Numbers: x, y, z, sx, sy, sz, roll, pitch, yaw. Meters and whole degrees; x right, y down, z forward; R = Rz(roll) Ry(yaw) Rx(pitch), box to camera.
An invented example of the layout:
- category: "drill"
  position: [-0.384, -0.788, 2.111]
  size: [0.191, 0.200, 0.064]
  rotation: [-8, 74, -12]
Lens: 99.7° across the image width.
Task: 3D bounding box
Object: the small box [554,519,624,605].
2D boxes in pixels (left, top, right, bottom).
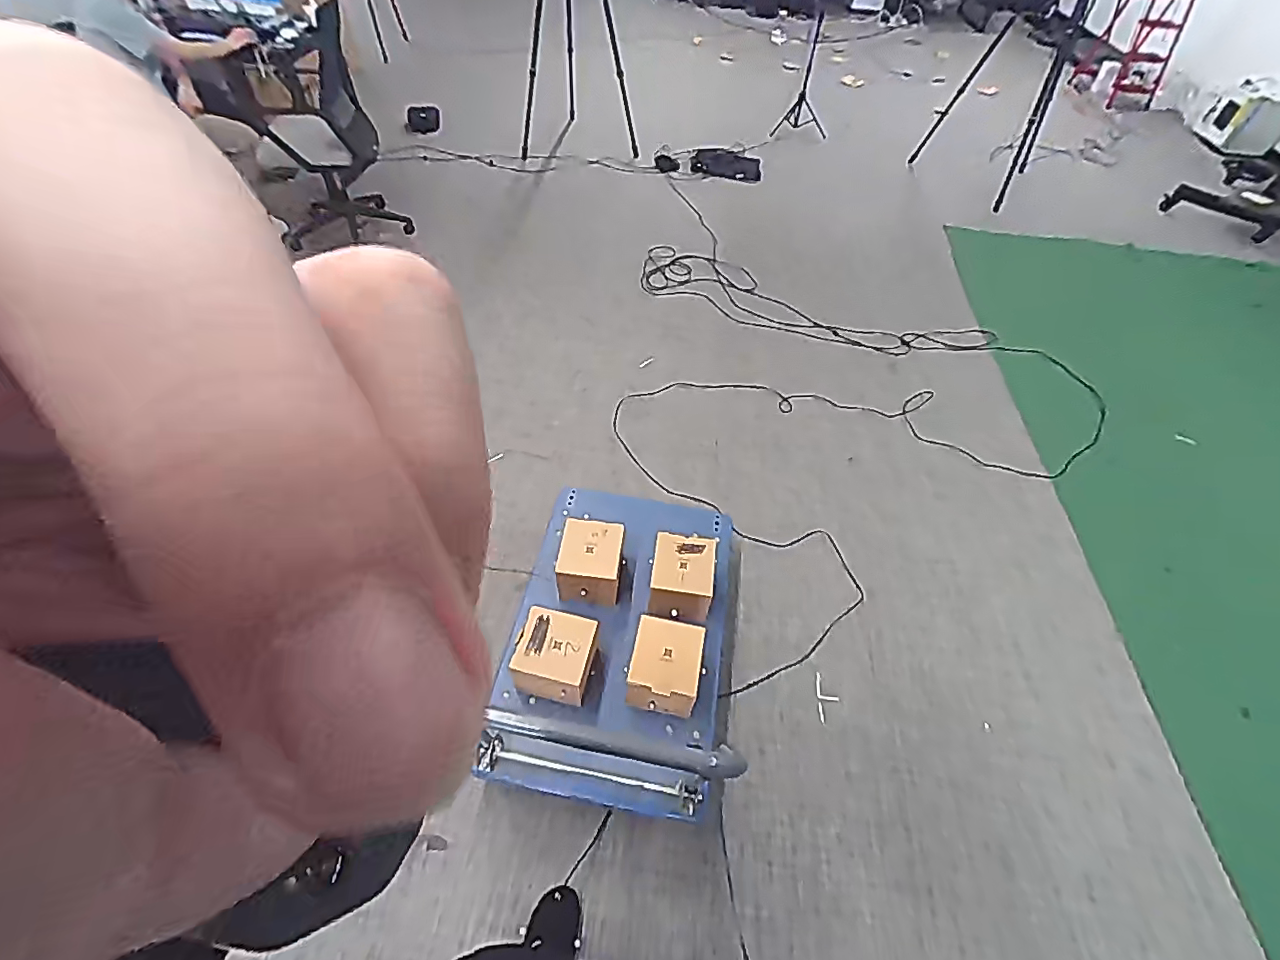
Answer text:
- category: "small box"
  position: [-0.139, 0.235, 1.522]
  size: [0.168, 0.176, 0.179]
  rotation: [7, 52, 1]

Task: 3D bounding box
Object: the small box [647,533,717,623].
- category: "small box"
  position: [0.114, 0.274, 1.507]
  size: [0.168, 0.176, 0.179]
  rotation: [8, 54, 4]

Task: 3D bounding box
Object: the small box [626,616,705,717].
- category: "small box"
  position: [0.060, 0.470, 1.355]
  size: [0.168, 0.176, 0.179]
  rotation: [11, 53, 5]
